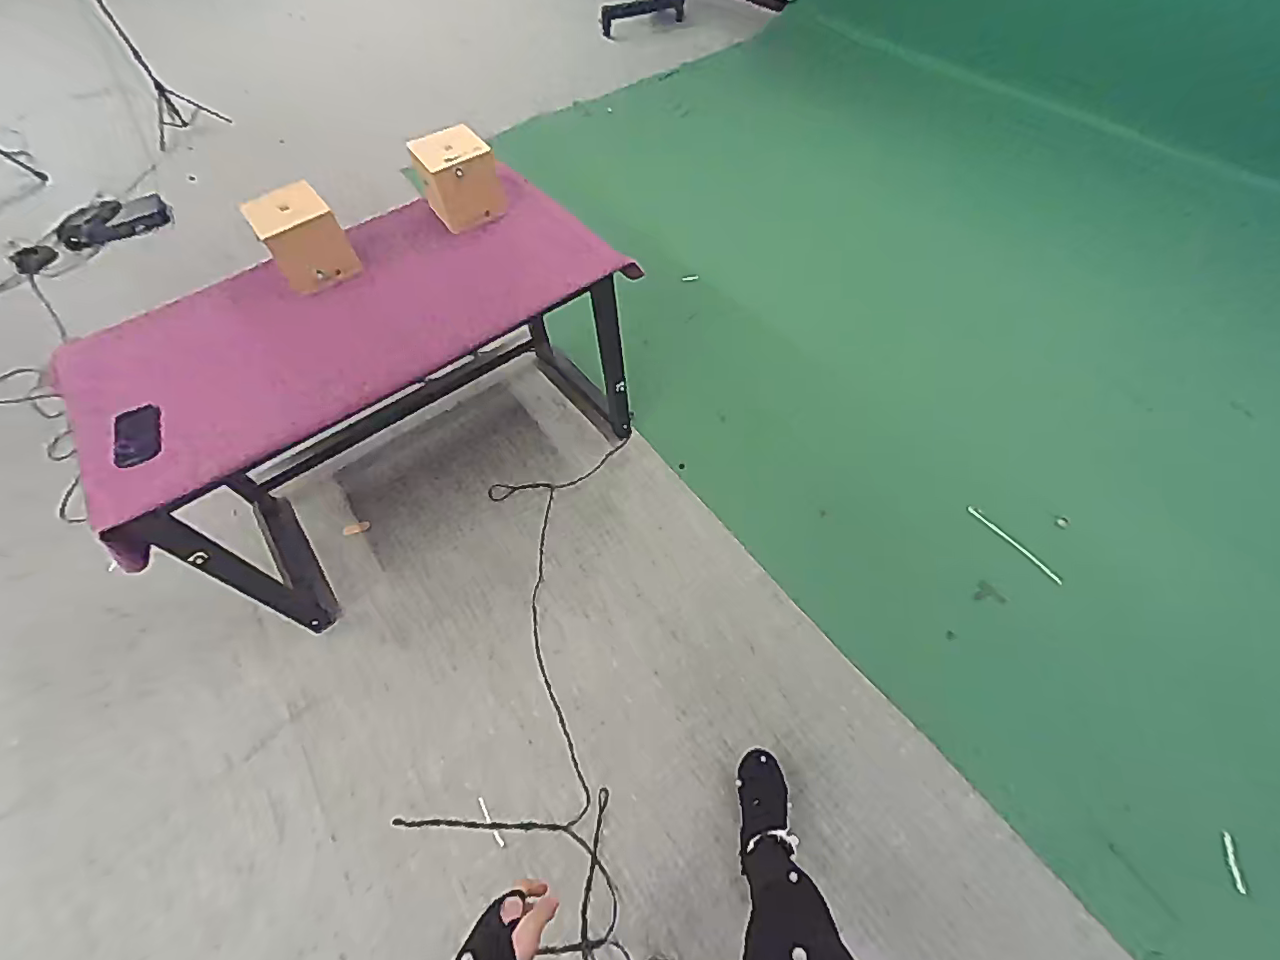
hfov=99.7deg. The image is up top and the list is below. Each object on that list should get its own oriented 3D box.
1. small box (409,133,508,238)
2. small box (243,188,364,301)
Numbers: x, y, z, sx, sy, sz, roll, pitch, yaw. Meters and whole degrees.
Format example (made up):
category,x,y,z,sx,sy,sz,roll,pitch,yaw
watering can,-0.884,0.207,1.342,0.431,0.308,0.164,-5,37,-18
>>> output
category,x,y,z,sx,sy,sz,roll,pitch,yaw
small box,-0.475,-0.776,1.430,0.168,0.176,0.179,-32,60,-15
small box,-0.816,-0.572,1.323,0.168,0.176,0.179,-35,62,-16
